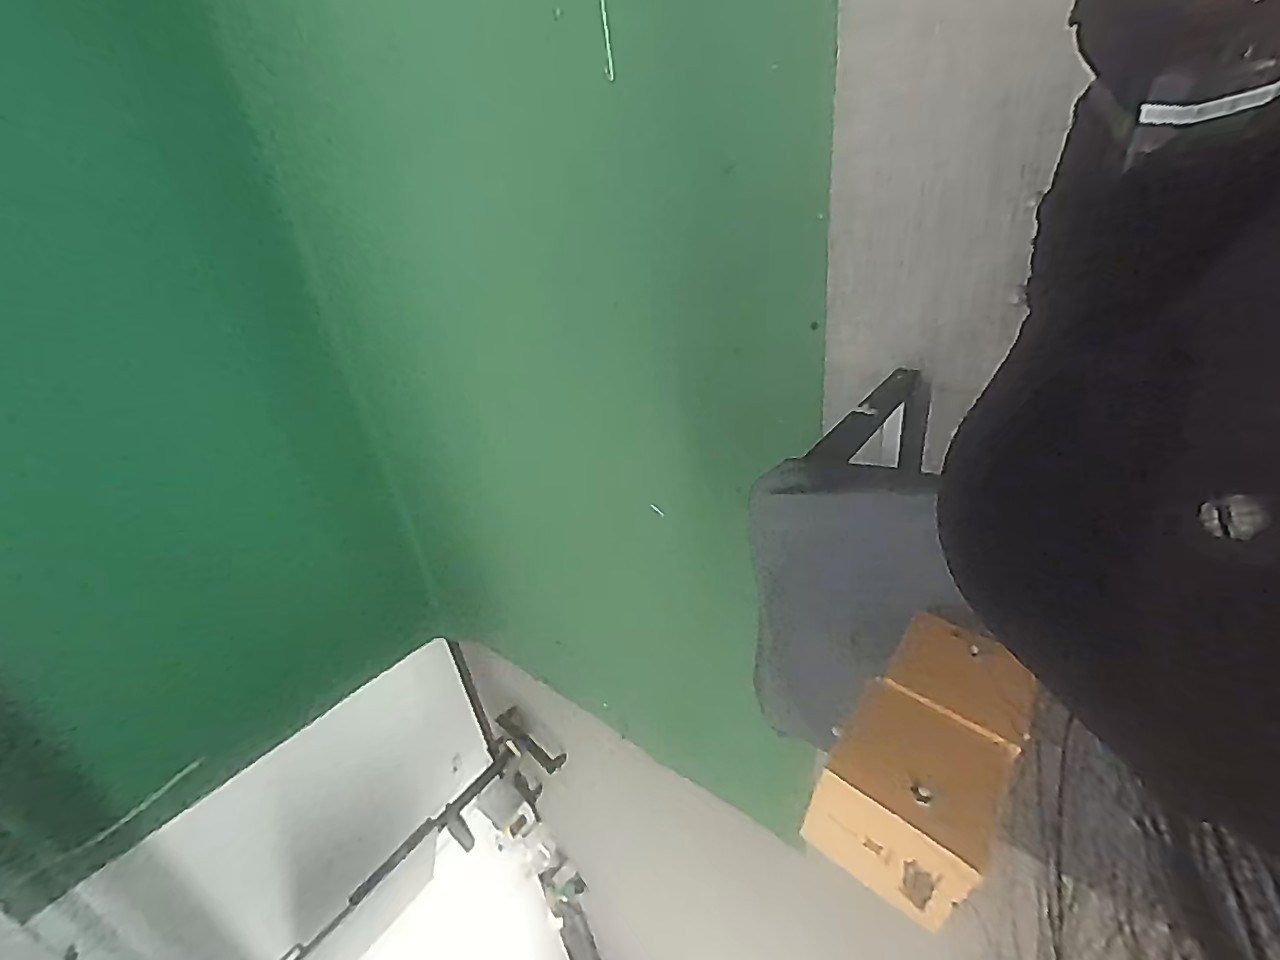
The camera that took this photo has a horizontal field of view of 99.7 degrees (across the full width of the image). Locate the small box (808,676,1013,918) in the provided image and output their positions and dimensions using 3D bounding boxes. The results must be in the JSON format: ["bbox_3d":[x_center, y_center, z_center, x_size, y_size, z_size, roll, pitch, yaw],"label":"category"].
[{"bbox_3d":[0.346,0.393,0.698,0.179,0.176,0.168,25,130,32],"label":"small box"}]
